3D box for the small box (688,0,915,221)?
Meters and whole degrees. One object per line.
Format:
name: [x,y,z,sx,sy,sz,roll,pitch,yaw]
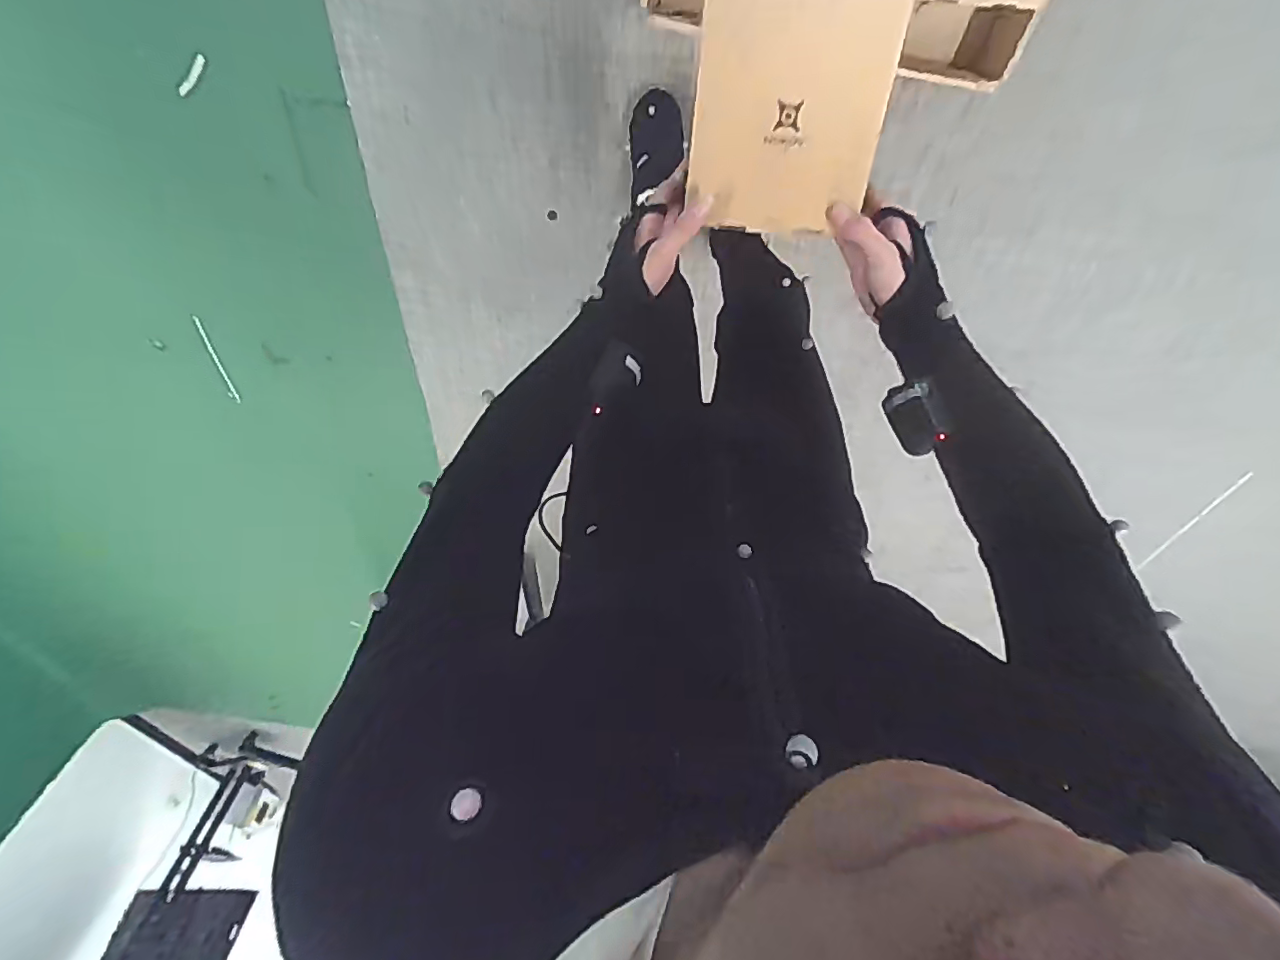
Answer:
small box: [0.136,-0.367,0.530,0.168,0.176,0.179,5,124,3]
